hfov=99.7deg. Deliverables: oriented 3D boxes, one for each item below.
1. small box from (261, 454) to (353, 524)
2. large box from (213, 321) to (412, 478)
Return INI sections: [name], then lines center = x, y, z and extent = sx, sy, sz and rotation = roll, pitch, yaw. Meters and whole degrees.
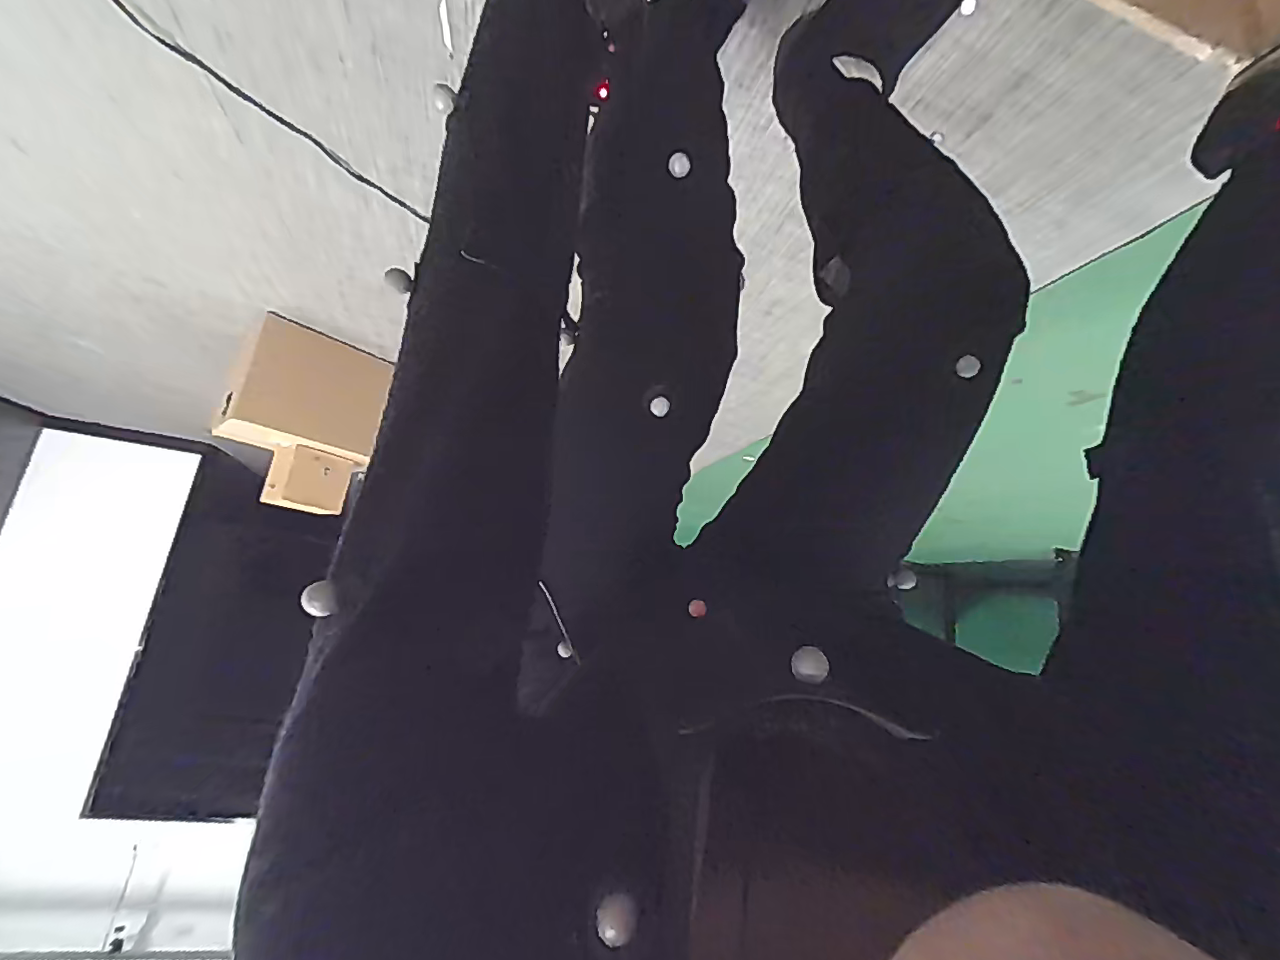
[small box]
center = -0.987, 0.029, 1.609
extent = 0.179, 0.176, 0.168
rotation = -4, 161, 40
[large box]
center = -0.976, -0.217, 1.637
extent = 0.320, 0.320, 0.408
rotation = -7, 157, 44
